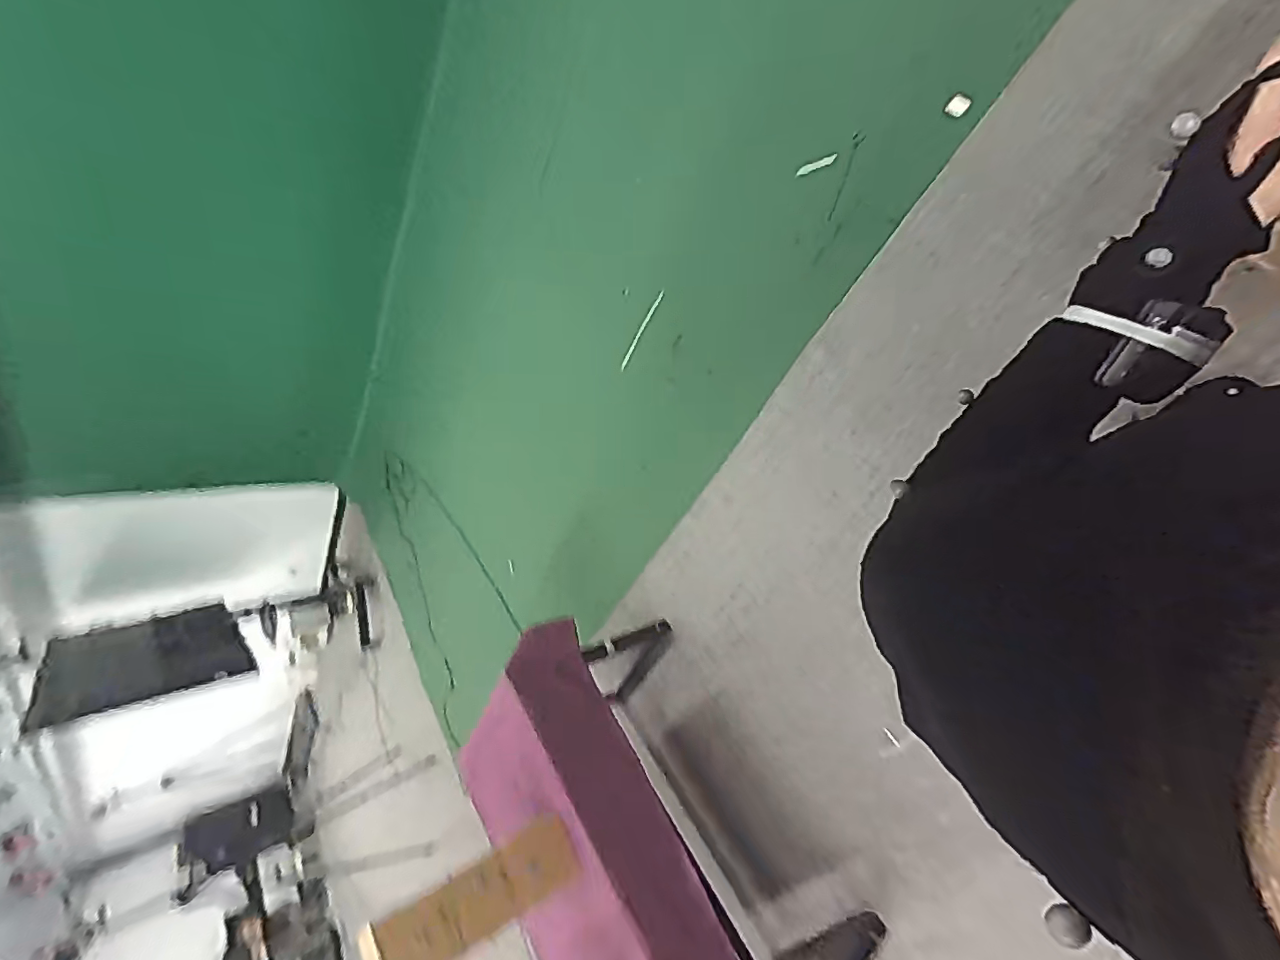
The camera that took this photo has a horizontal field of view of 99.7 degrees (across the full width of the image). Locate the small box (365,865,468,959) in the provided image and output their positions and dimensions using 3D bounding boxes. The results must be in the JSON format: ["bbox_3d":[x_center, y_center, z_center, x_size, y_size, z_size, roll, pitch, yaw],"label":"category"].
[{"bbox_3d":[-0.528,1.060,1.286,0.168,0.176,0.179,57,130,28],"label":"small box"}]

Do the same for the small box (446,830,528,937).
[{"bbox_3d":[-0.409,1.046,1.398,0.168,0.176,0.179,57,132,27],"label":"small box"}]

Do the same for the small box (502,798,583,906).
[{"bbox_3d":[-0.285,1.028,1.503,0.179,0.176,0.168,57,130,27],"label":"small box"}]
